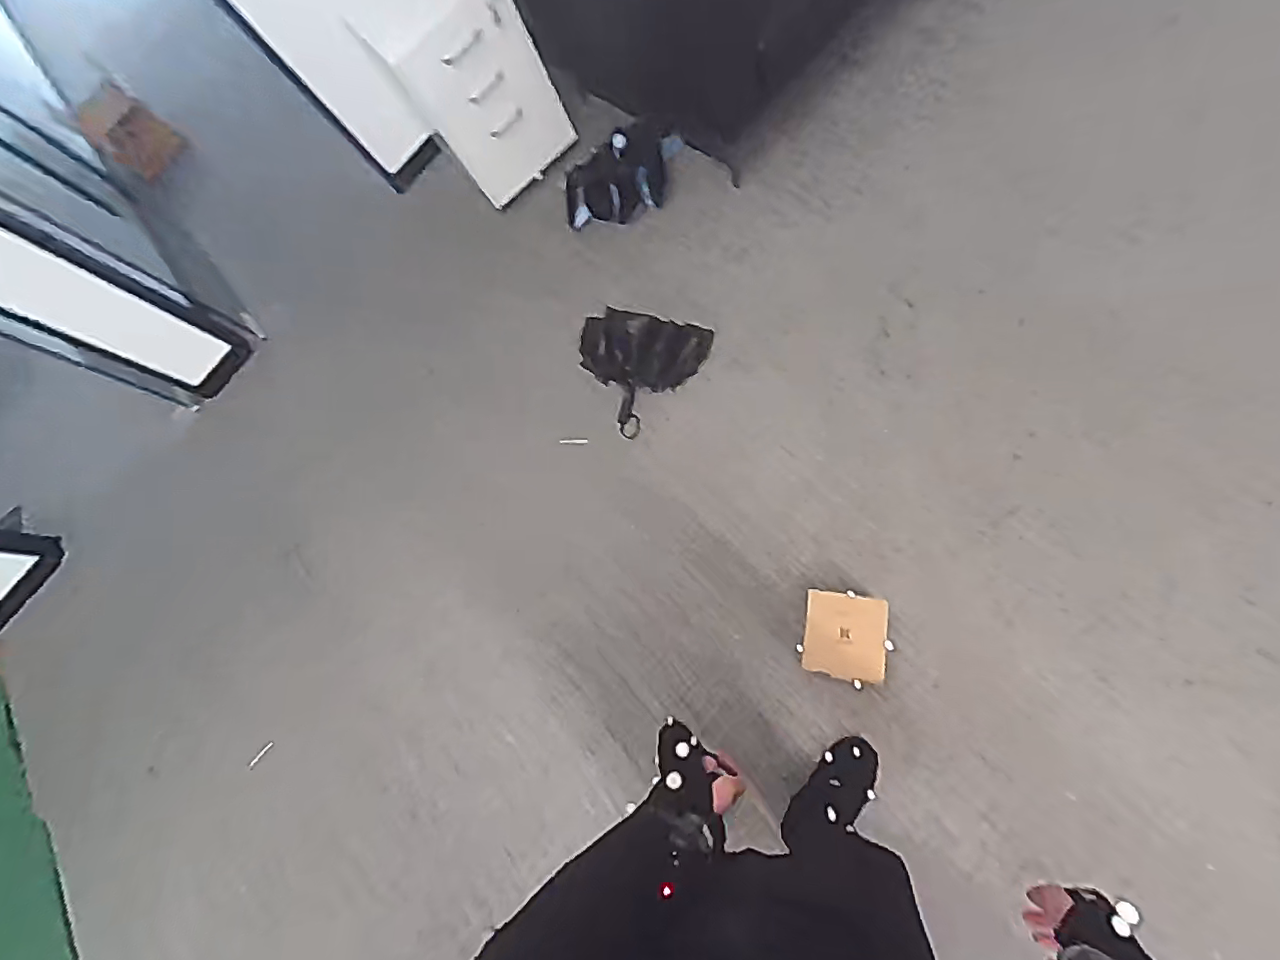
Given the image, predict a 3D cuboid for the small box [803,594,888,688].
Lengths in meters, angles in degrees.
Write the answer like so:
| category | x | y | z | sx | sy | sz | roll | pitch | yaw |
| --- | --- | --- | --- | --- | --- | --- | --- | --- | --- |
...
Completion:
| category | x | y | z | sx | sy | sz | roll | pitch | yaw |
| --- | --- | --- | --- | --- | --- | --- | --- | --- | --- |
| small box | 0.467 | 0.367 | 1.235 | 0.168 | 0.176 | 0.179 | 4 | 73 | 19 |
